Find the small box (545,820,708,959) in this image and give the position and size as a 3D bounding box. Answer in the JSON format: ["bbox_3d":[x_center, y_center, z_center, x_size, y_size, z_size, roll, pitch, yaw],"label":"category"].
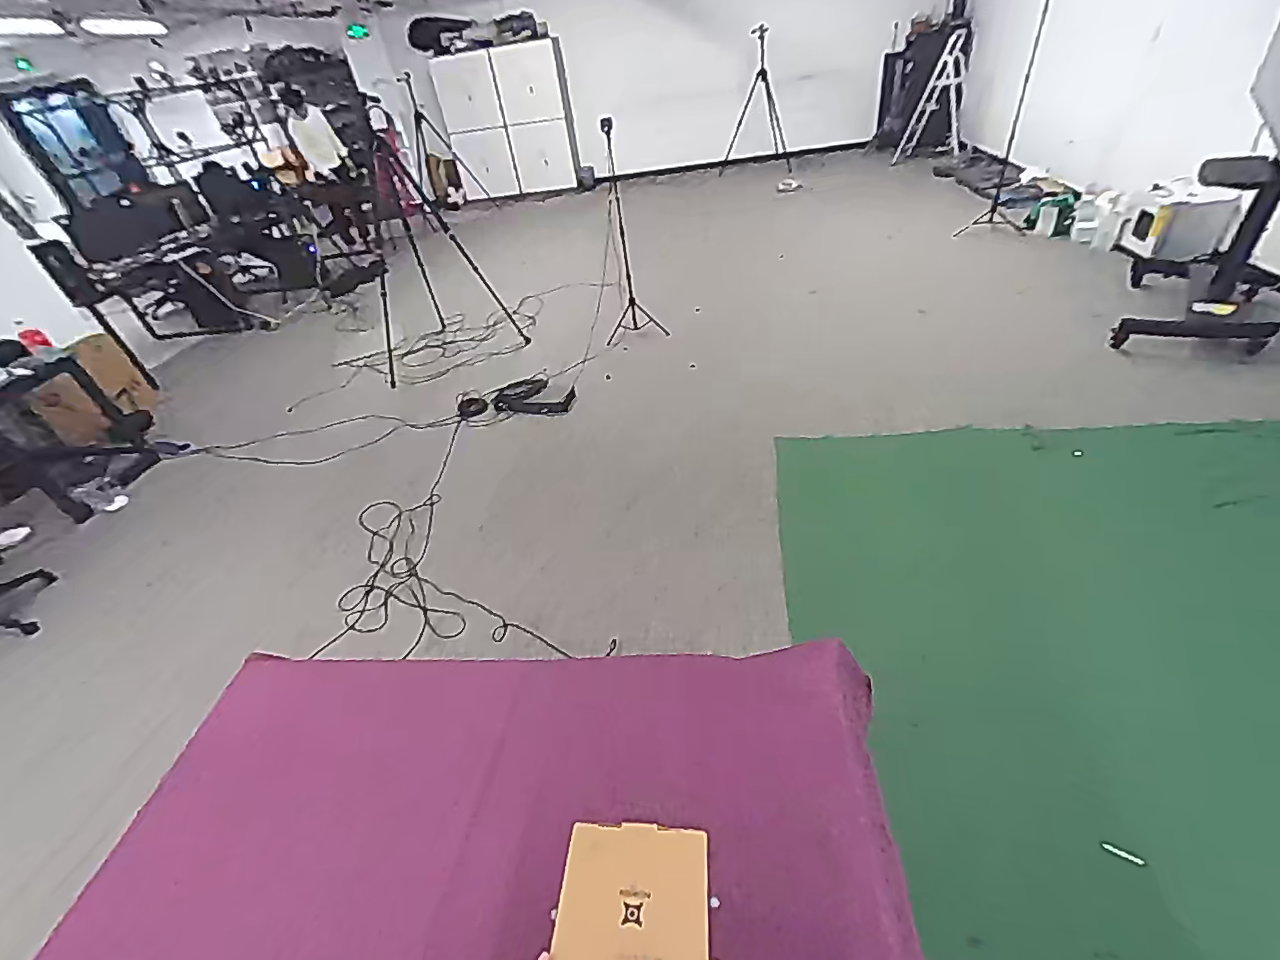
[{"bbox_3d":[-0.008,0.531,0.619,0.168,0.176,0.179,1,29,6],"label":"small box"}]
